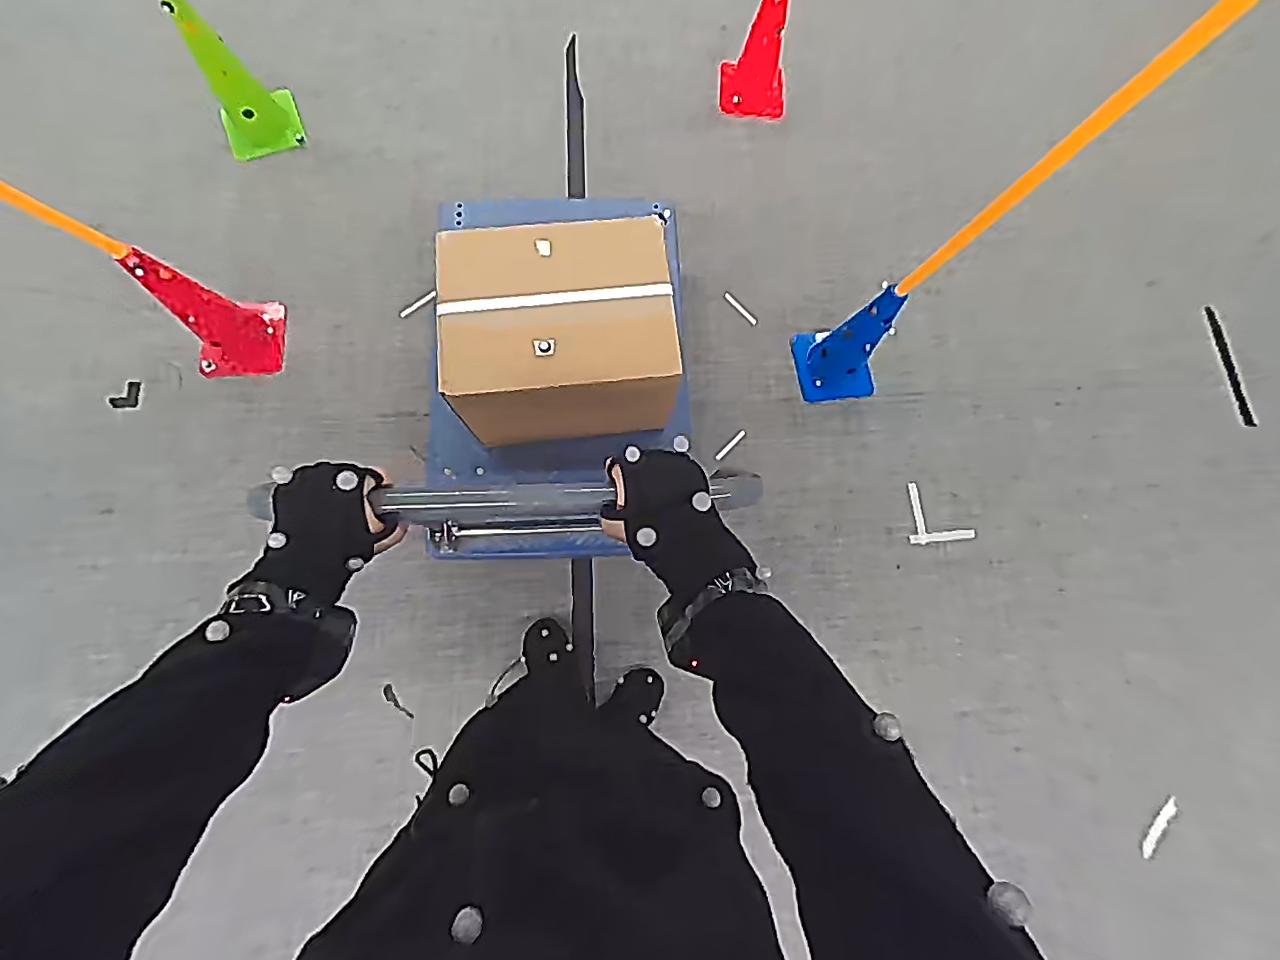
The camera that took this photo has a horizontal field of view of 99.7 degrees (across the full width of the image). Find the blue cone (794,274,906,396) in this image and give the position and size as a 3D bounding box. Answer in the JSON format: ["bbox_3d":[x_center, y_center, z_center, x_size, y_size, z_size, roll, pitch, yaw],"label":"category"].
[{"bbox_3d":[0.531,-0.360,1.303,0.193,0.380,0.192,-6,76,-5],"label":"blue cone"}]

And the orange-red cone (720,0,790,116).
[{"bbox_3d":[0.358,-1.237,1.480,0.199,0.360,0.198,4,78,-3],"label":"orange-red cone"}]
